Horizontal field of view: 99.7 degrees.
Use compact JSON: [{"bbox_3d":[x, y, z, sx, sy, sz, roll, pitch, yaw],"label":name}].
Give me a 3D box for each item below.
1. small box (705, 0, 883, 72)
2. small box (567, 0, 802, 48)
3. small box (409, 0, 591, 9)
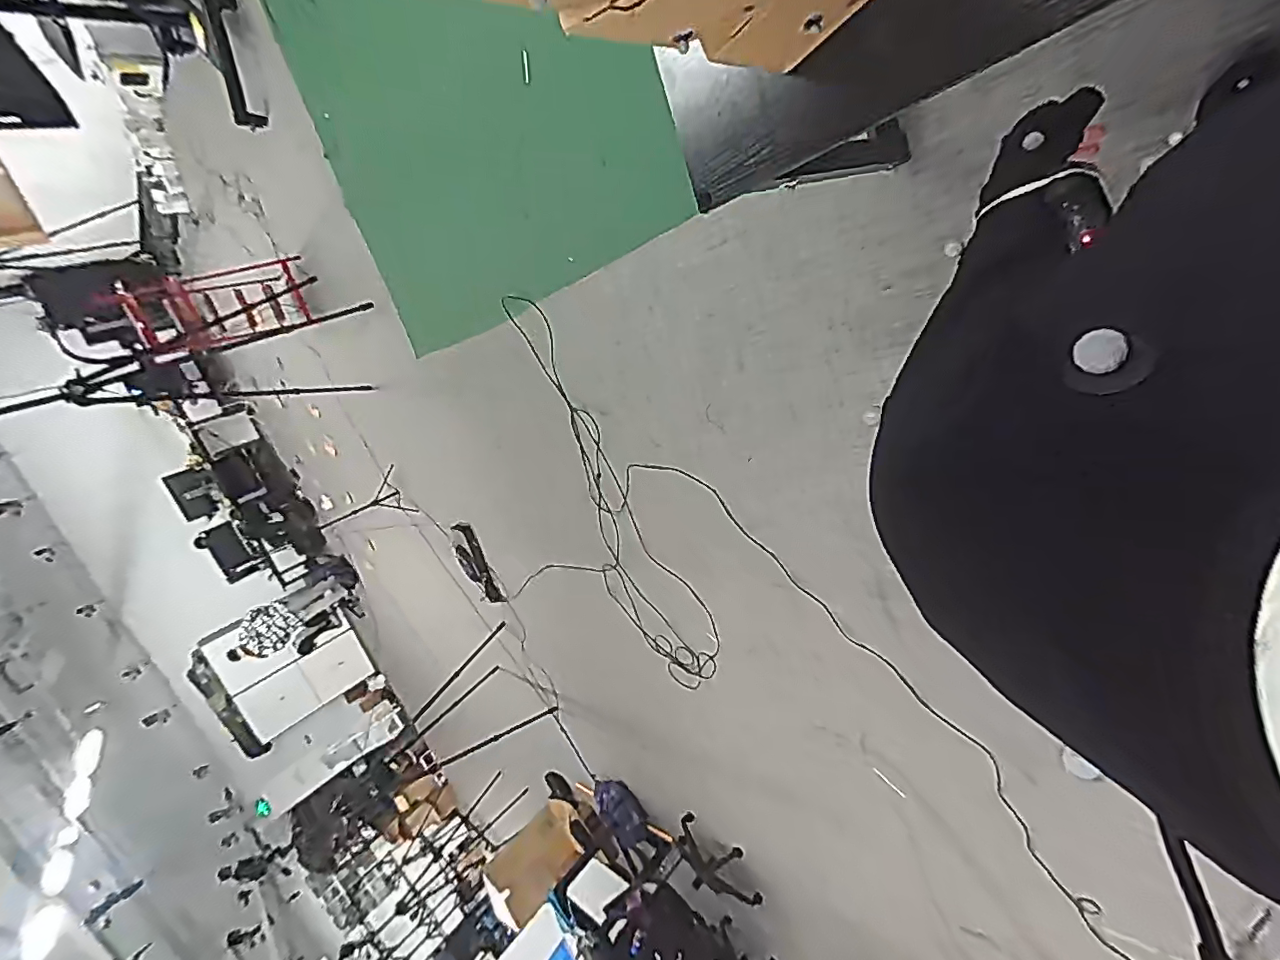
[{"bbox_3d":[0.150,-0.560,0.554,0.168,0.176,0.179,-16,103,50],"label":"small box"},{"bbox_3d":[0.039,-0.493,0.453,0.168,0.176,0.179,12,123,41],"label":"small box"},{"bbox_3d":[-0.073,-0.431,0.349,0.168,0.176,0.179,23,131,34],"label":"small box"}]
